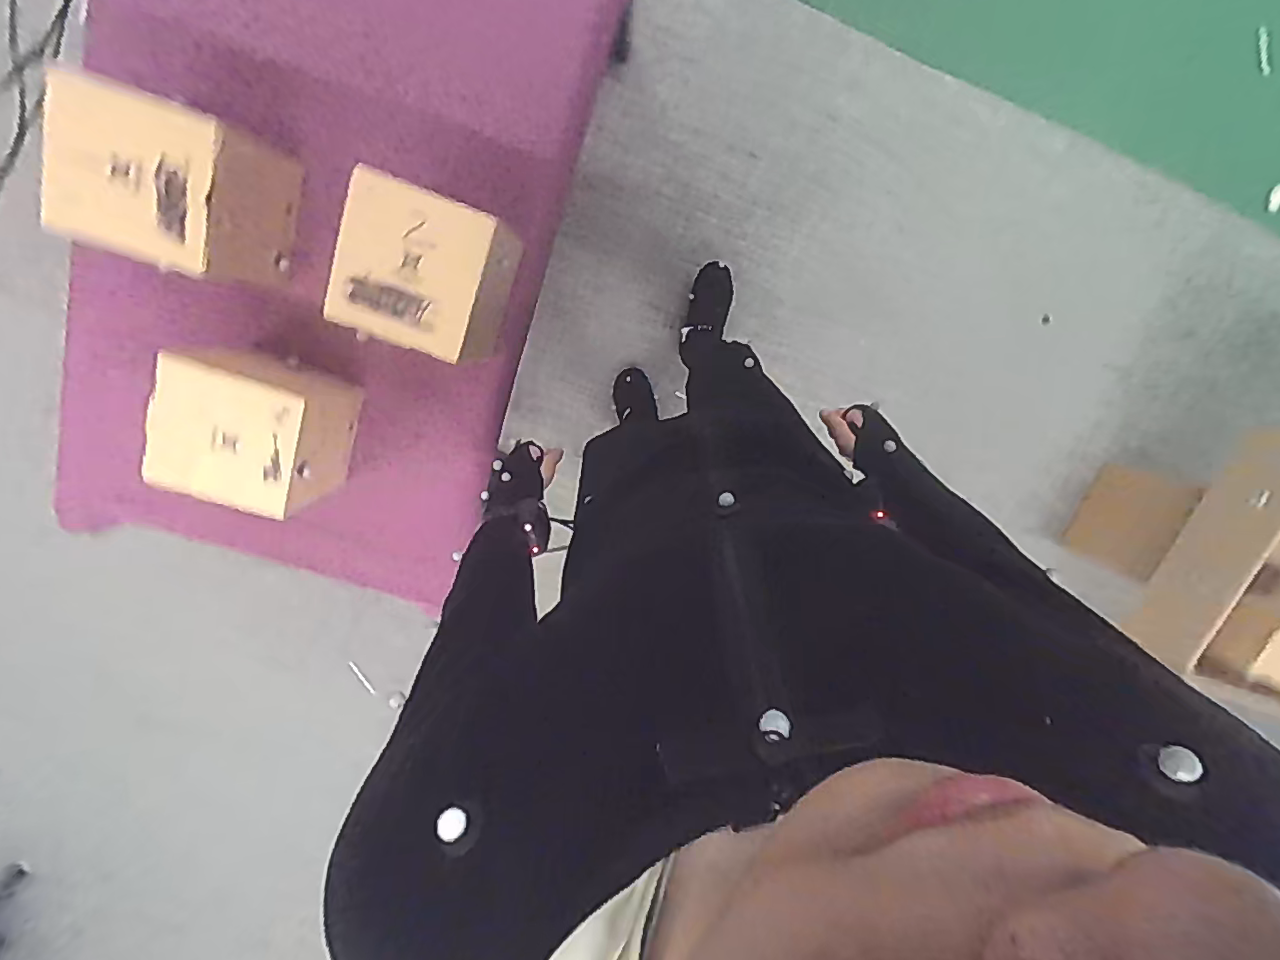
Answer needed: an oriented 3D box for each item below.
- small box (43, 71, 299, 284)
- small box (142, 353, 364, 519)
[{"bbox_3d":[-0.563,-0.353,0.672,0.179,0.176,0.168,17,103,-6],"label":"small box"},{"bbox_3d":[-0.520,-0.069,0.746,0.179,0.176,0.168,18,104,-7],"label":"small box"}]
